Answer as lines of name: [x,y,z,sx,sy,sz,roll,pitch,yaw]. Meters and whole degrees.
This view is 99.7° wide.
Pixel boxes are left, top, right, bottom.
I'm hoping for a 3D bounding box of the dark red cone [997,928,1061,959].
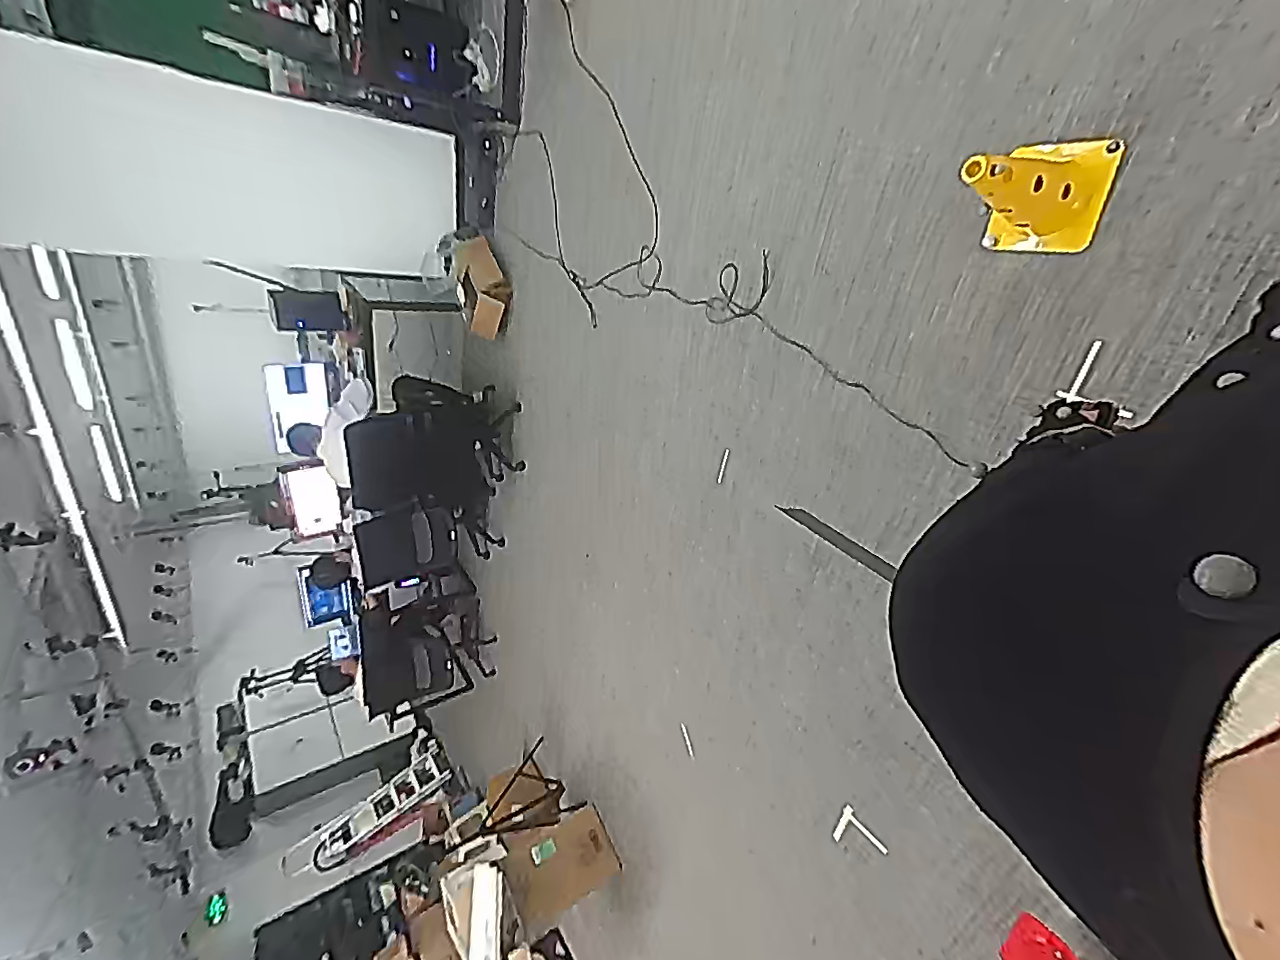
dark red cone: [0.867,1.260,1.224,0.202,0.394,0.201,29,121,47]
